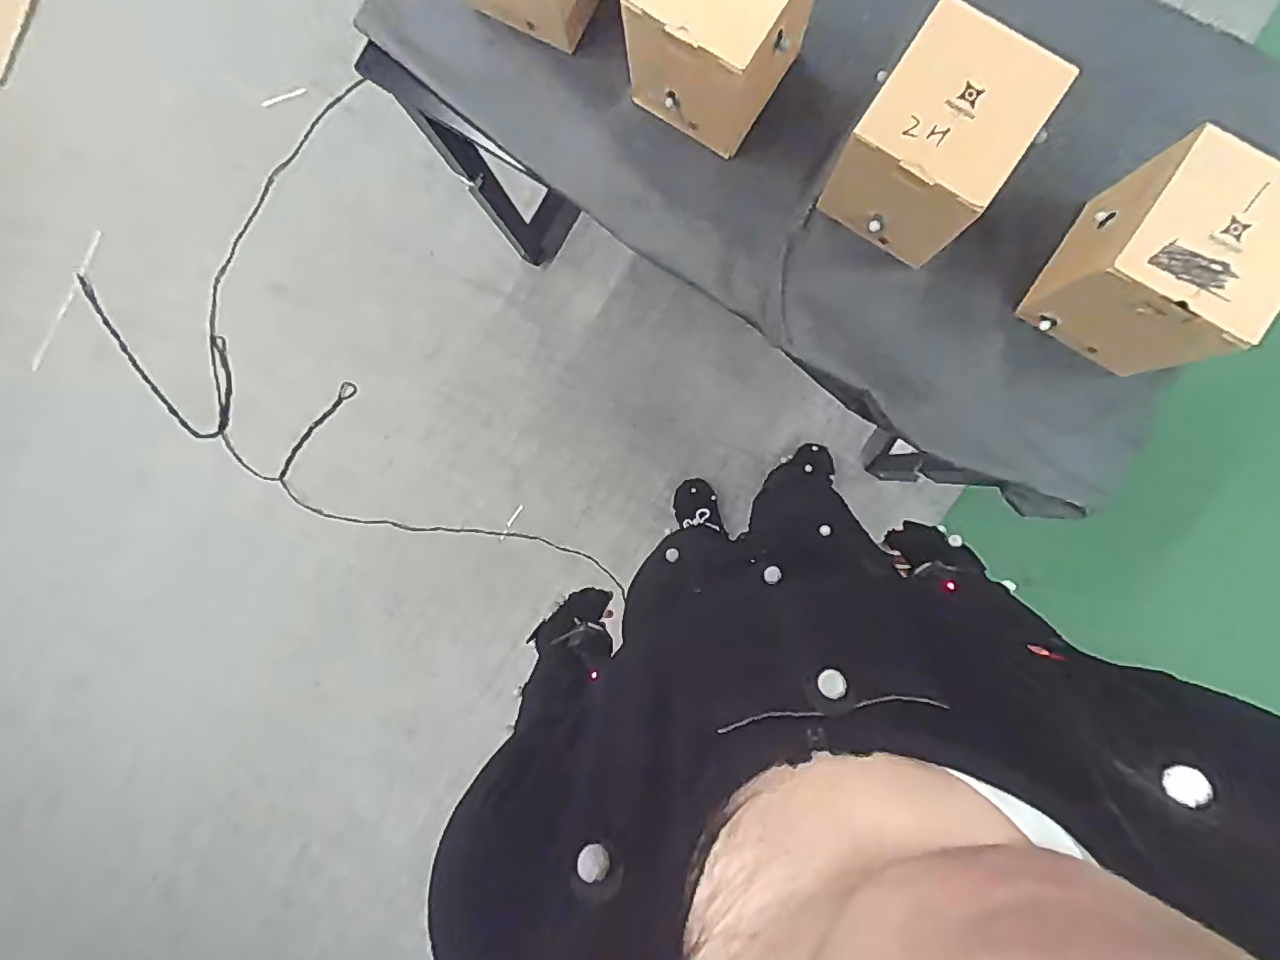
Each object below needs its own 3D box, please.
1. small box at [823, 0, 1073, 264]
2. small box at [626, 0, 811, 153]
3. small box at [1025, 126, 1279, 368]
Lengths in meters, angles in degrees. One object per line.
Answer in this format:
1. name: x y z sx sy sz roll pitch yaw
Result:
1. small box: 0.350 -0.404 0.657 0.168 0.176 0.179 34 93 3
2. small box: 0.098 -0.564 0.674 0.168 0.176 0.179 33 94 2
3. small box: 0.609 -0.254 0.641 0.168 0.176 0.179 33 93 3
